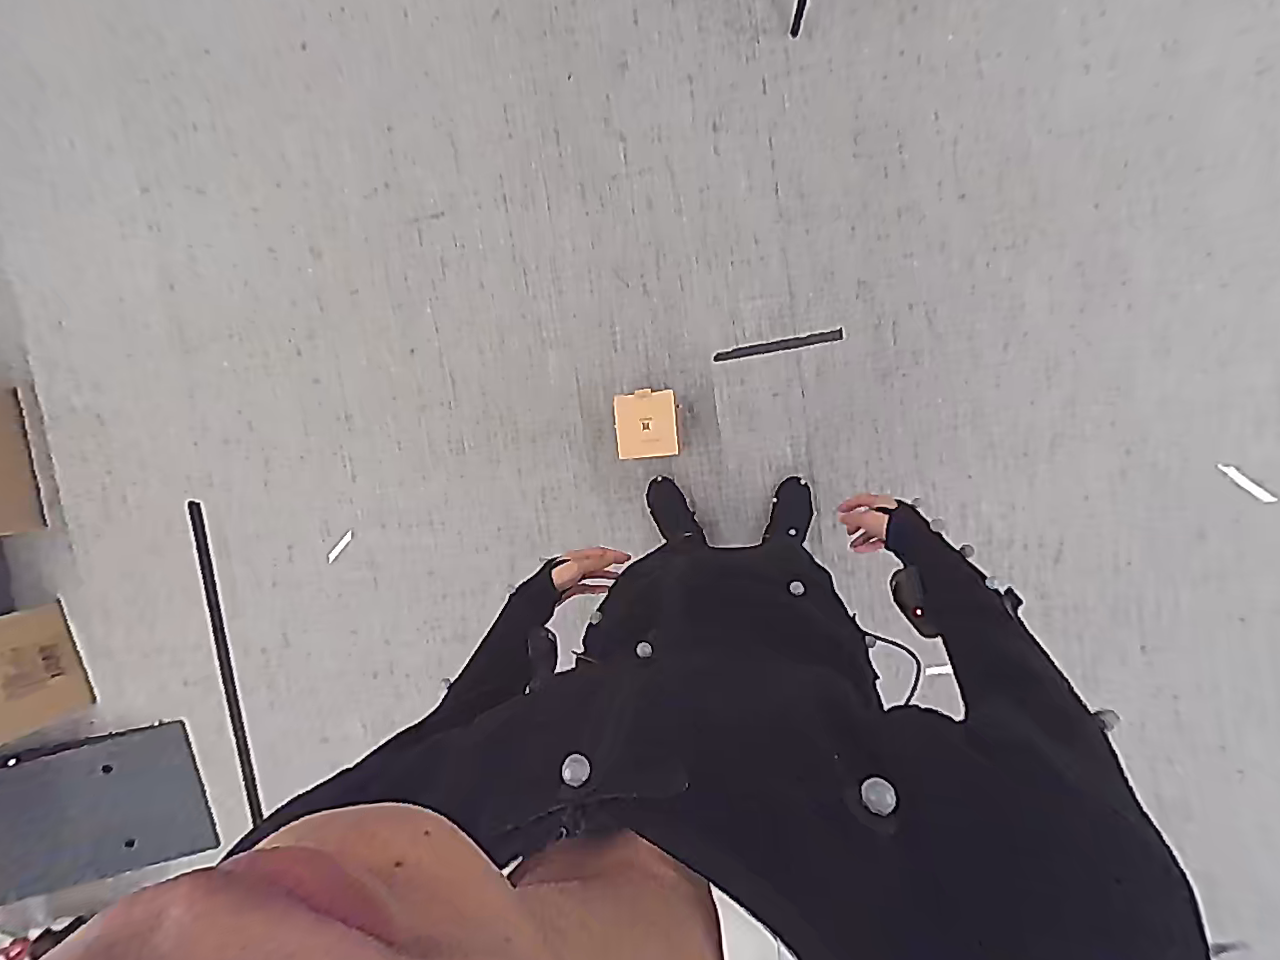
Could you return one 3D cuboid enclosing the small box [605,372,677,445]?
[{"bbox_3d":[0.008,-0.190,1.463,0.168,0.176,0.179,-5,95,9],"label":"small box"}]
